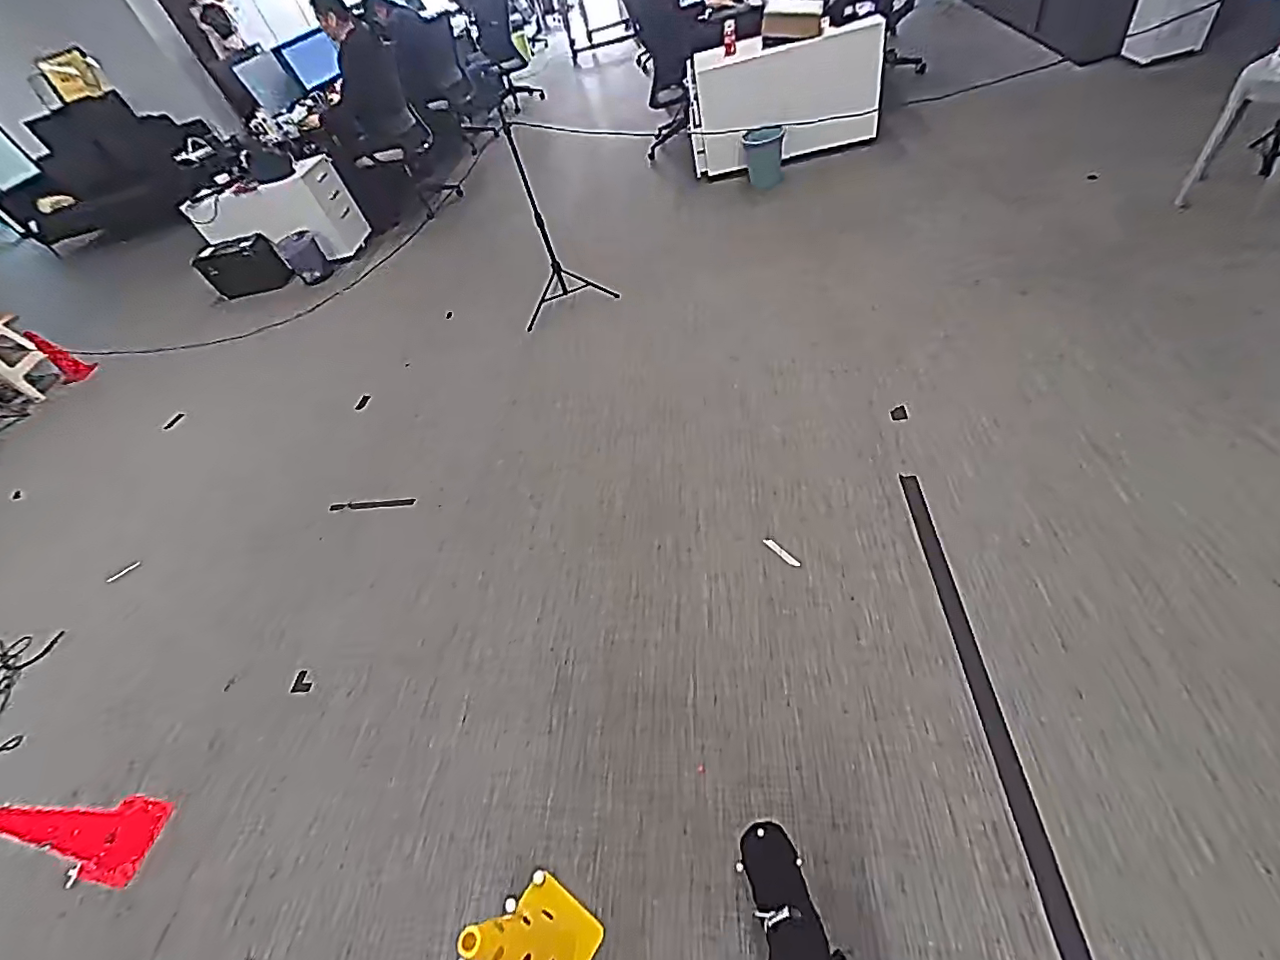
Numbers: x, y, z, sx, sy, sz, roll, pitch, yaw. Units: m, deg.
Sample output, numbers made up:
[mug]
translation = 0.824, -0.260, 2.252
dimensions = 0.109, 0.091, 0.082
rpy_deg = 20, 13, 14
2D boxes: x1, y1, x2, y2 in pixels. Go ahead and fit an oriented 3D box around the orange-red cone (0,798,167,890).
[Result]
[orange-red cone]
translation = -1.489, 0.910, 1.393
dimensions = 0.199, 0.360, 0.198
rpy_deg = 0, 51, 16
